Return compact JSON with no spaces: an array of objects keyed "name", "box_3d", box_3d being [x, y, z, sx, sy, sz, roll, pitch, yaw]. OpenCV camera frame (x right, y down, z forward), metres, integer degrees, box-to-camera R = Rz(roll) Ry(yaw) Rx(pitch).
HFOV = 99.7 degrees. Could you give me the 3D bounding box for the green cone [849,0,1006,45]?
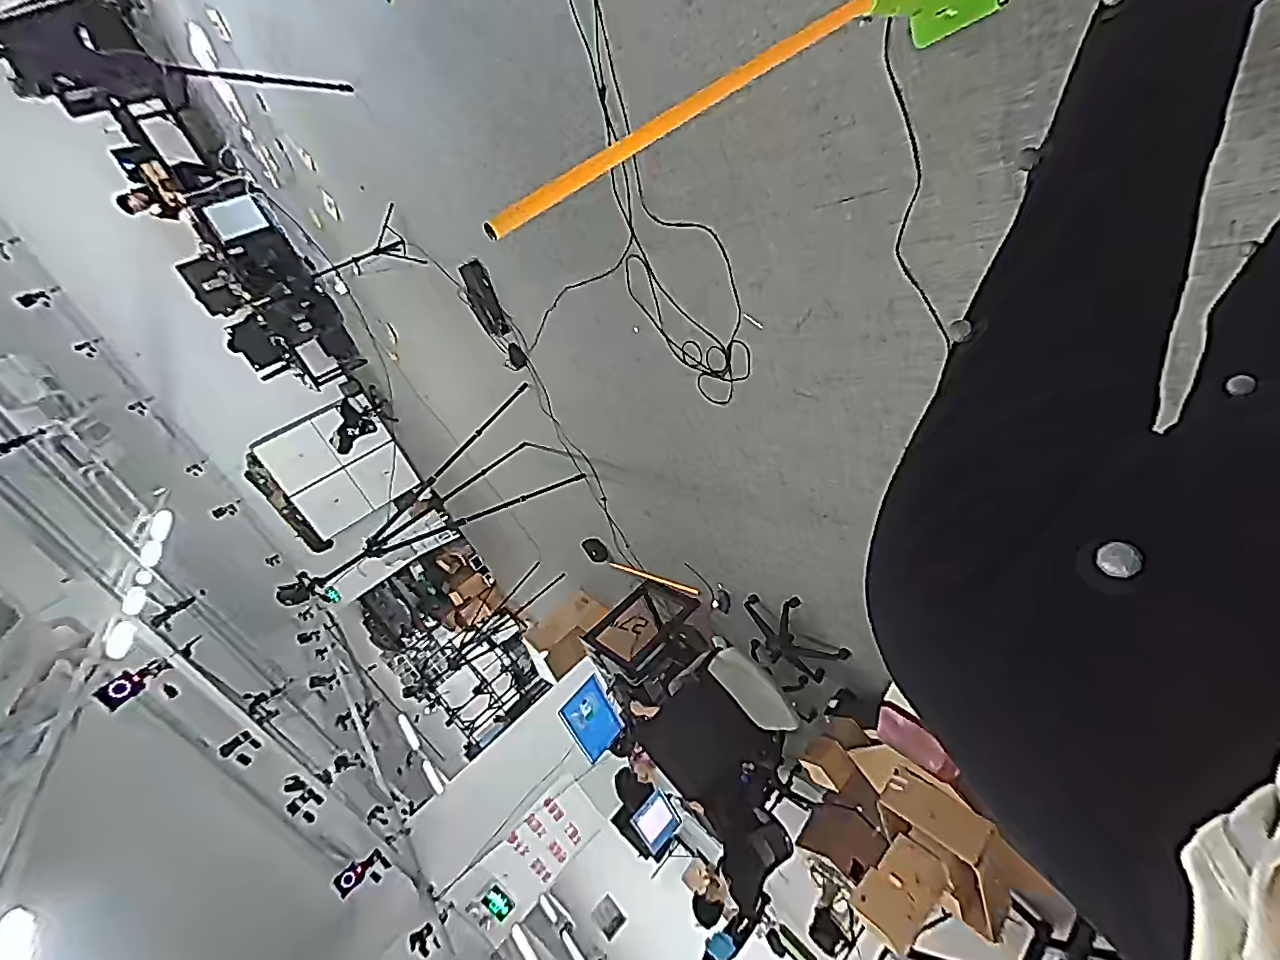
[{"name":"green cone","box_3d":[0.529,-0.965,1.051,0.202,0.368,0.200,13,134,55]}]
